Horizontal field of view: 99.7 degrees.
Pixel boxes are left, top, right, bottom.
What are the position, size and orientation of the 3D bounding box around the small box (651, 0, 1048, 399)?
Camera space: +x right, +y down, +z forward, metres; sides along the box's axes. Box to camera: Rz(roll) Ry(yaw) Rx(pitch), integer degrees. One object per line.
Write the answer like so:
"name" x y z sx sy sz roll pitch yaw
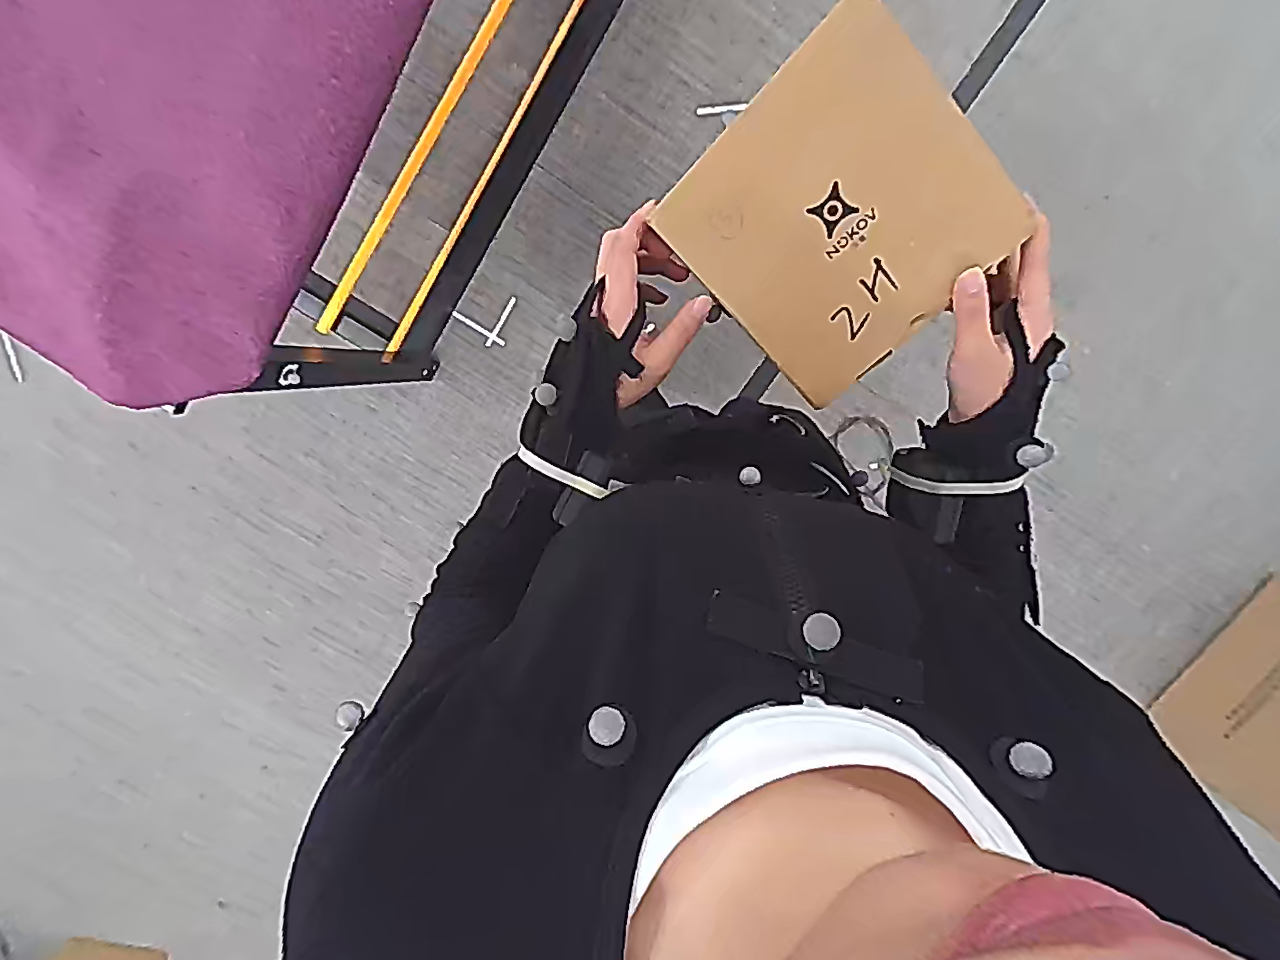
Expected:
"small box" 0.128 -0.190 0.394 0.179 0.176 0.168 44 110 -13
